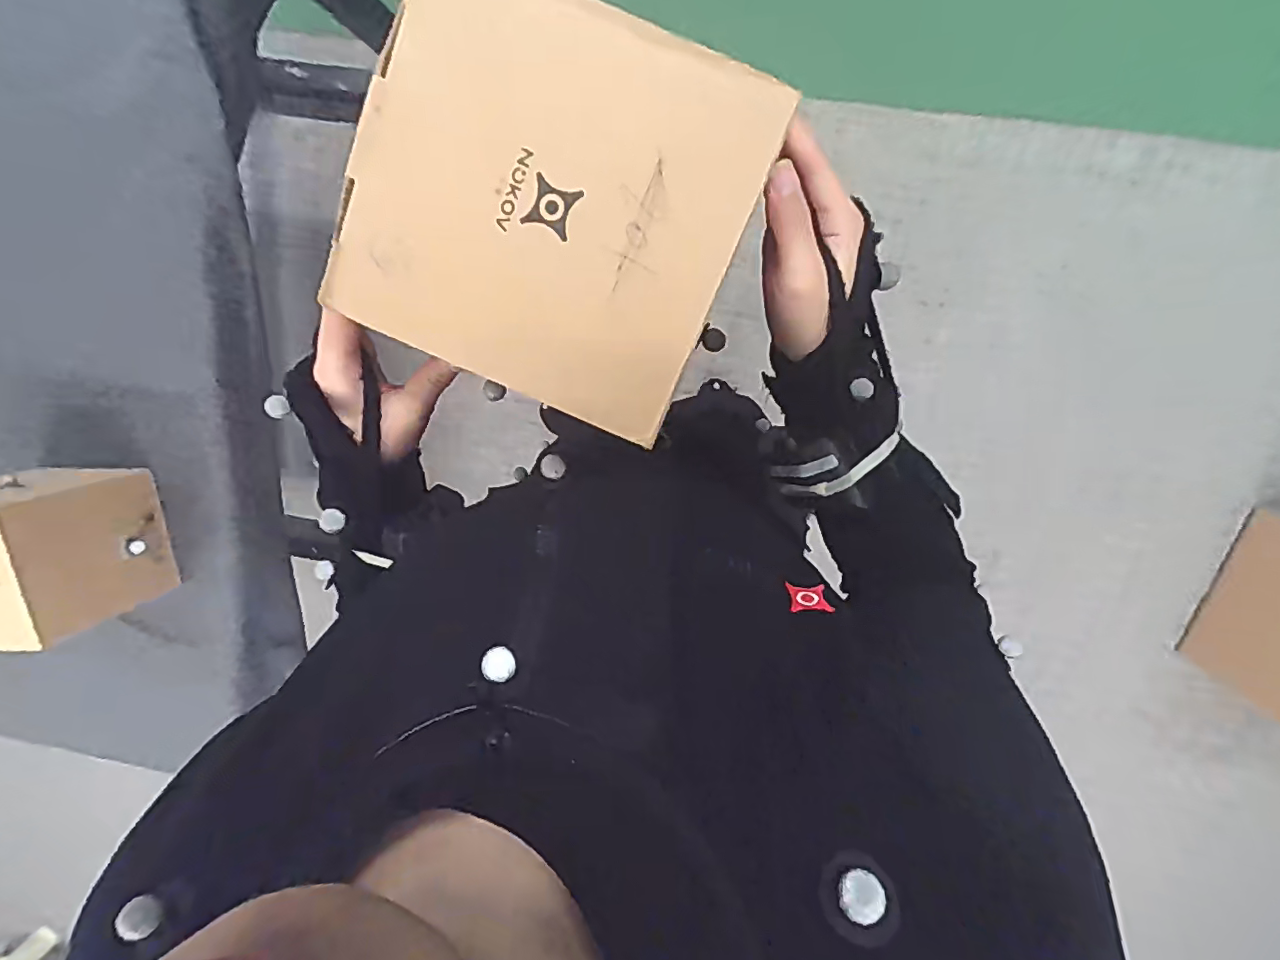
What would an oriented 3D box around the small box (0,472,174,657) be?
[{"bbox_3d":[-0.724,0.090,0.646,0.179,0.176,0.168,0,105,6],"label":"small box"}]
